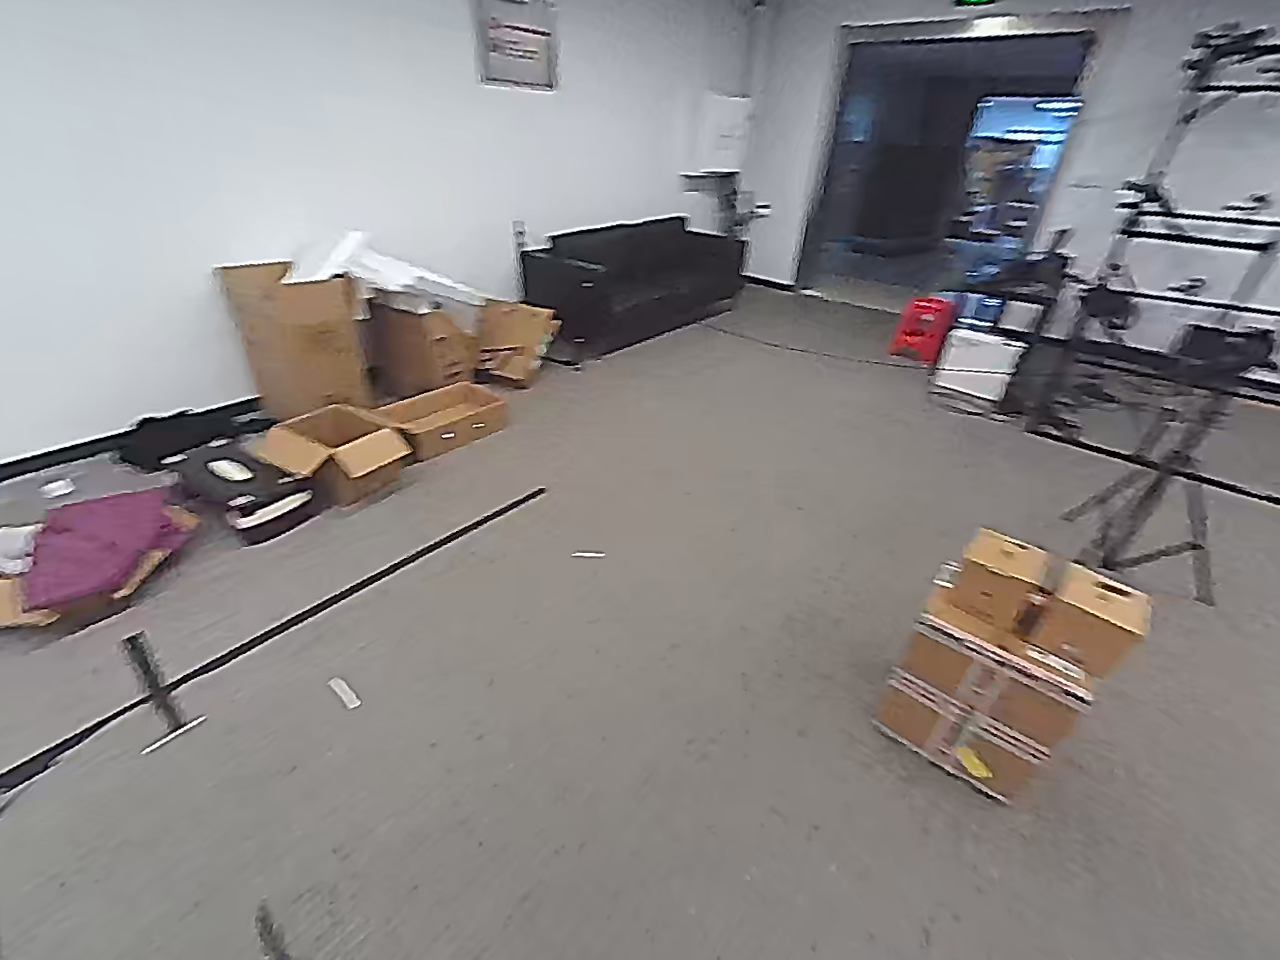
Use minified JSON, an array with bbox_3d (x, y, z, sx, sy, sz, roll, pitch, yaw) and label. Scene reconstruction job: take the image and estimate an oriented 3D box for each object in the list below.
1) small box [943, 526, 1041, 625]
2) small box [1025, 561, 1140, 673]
[{"bbox_3d":[0.955,0.260,1.477,0.168,0.176,0.179,26,42,34],"label":"small box"},{"bbox_3d":[1.111,0.343,1.364,0.168,0.176,0.179,29,43,31],"label":"small box"}]
